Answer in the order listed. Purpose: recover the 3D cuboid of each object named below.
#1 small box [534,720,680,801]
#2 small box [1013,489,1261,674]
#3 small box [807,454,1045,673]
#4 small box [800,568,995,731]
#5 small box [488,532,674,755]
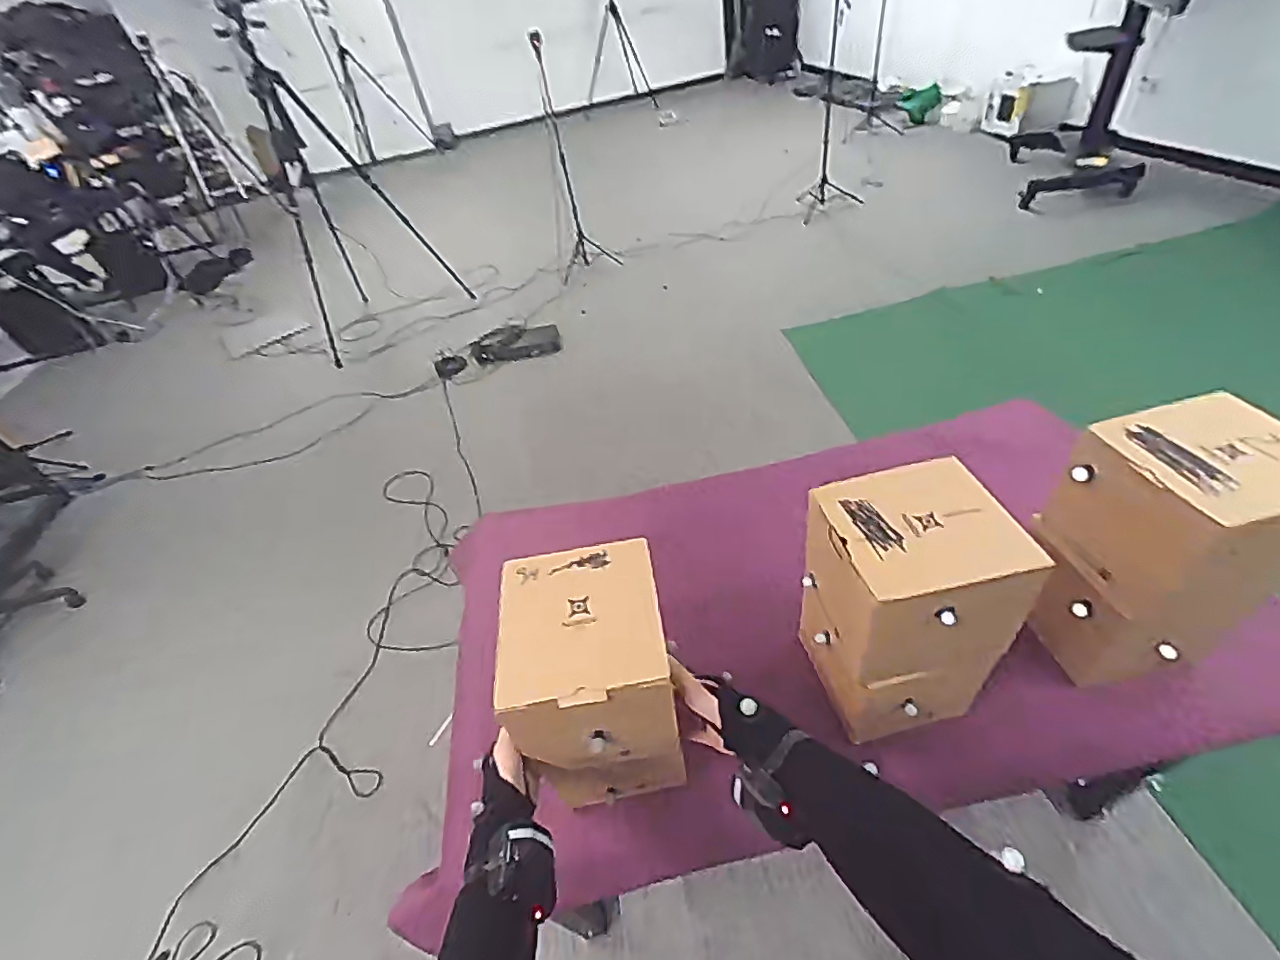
[{"bbox_3d":[-0.044,0.297,0.725,0.168,0.176,0.179,-11,44,-2],"label":"small box"},{"bbox_3d":[0.636,0.144,0.735,0.168,0.176,0.179,-12,42,0],"label":"small box"},{"bbox_3d":[0.302,0.098,0.620,0.179,0.176,0.168,-11,42,0],"label":"small box"},{"bbox_3d":[0.329,0.216,0.733,0.168,0.176,0.179,-15,42,-2],"label":"small box"},{"bbox_3d":[-0.058,0.187,0.604,0.168,0.176,0.179,-9,44,0],"label":"small box"}]
